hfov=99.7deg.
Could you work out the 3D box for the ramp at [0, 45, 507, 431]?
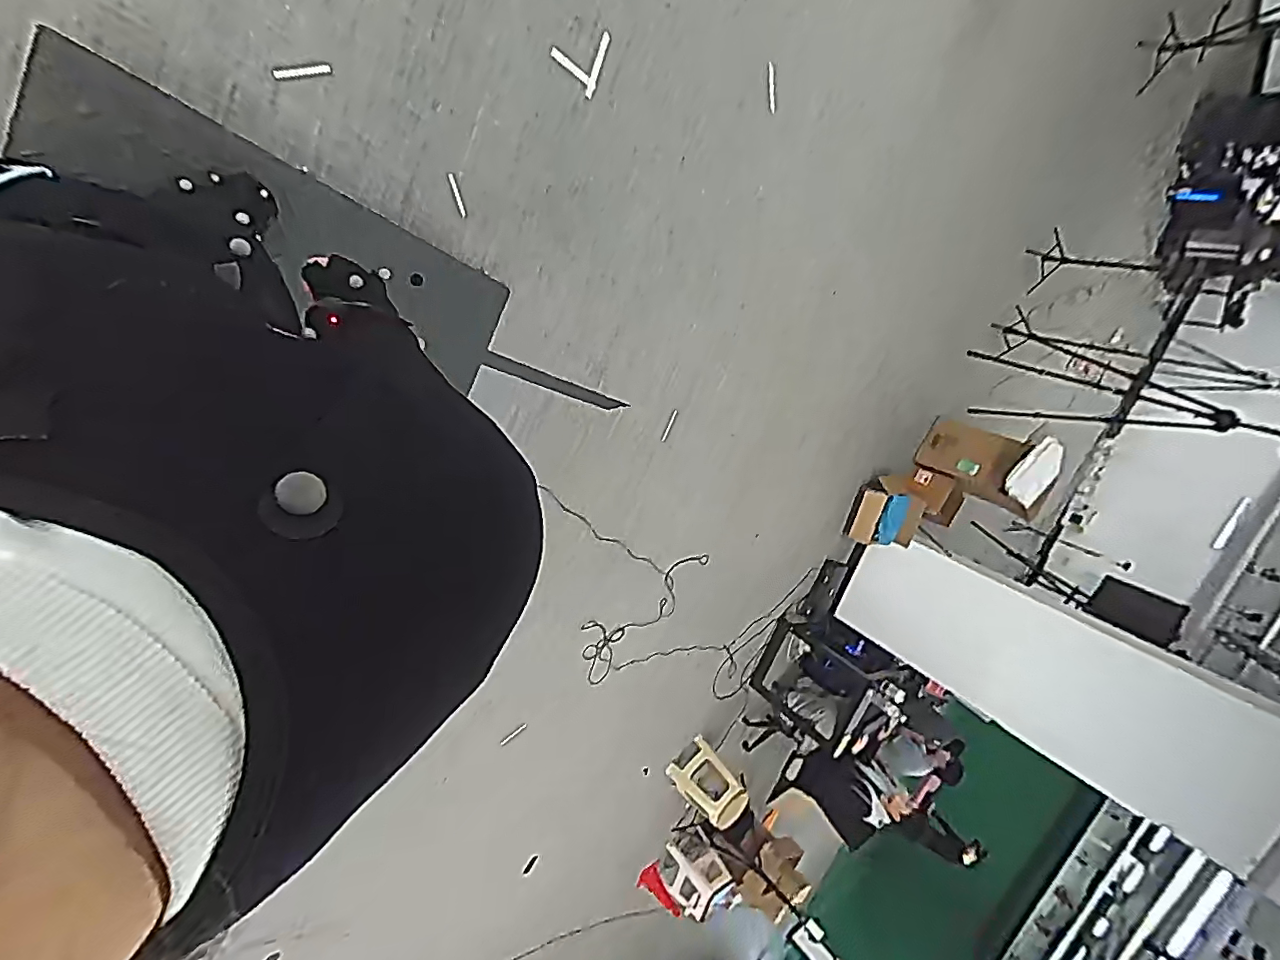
[{"bbox_3d":[-0.773,-0.429,1.302,0.991,0.206,0.509,12,102,-46],"label":"ramp"}]
